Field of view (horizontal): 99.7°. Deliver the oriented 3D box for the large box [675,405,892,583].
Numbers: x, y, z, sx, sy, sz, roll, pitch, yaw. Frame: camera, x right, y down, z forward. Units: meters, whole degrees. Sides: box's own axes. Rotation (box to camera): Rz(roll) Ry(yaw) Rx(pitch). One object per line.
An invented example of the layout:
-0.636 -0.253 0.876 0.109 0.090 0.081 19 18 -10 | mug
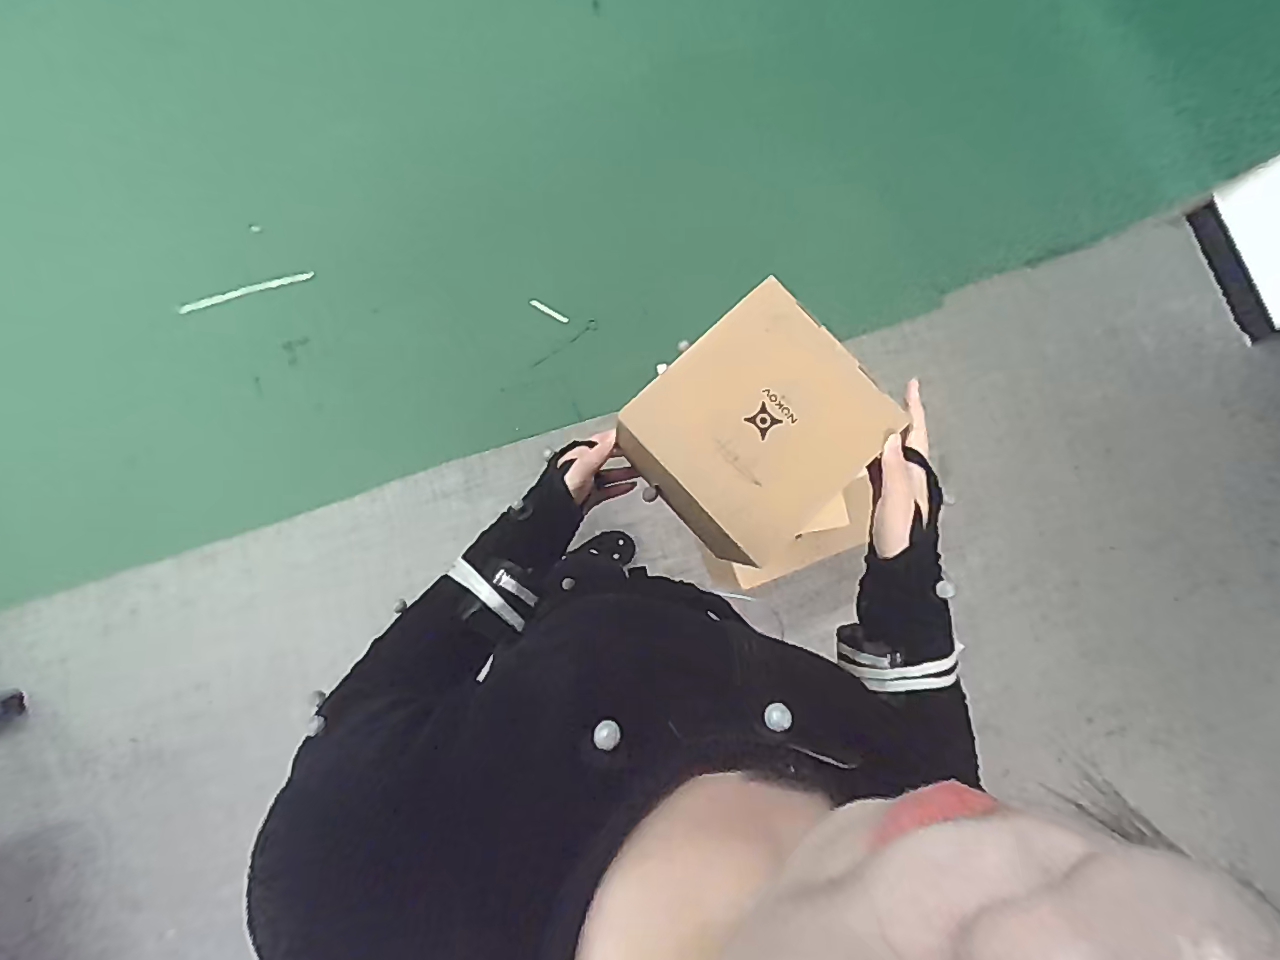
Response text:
0.346 0.048 1.409 0.408 0.320 0.320 -20 85 -8 | large box
